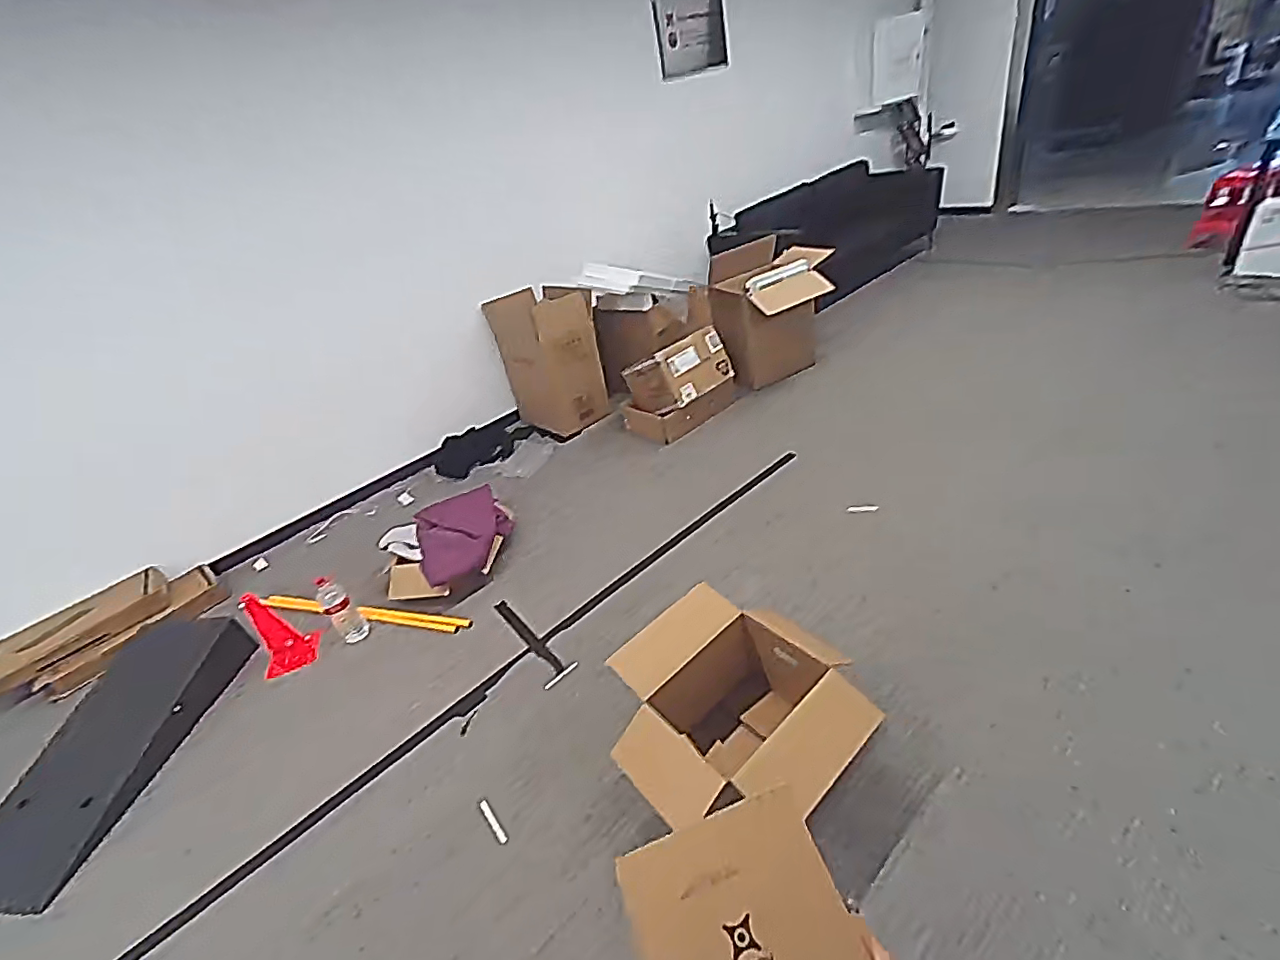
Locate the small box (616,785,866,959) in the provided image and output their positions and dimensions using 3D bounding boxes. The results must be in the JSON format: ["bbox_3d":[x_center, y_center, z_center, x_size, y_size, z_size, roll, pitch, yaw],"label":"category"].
[{"bbox_3d":[0.098,0.409,0.472,0.168,0.176,0.179,-23,44,-4],"label":"small box"}]
